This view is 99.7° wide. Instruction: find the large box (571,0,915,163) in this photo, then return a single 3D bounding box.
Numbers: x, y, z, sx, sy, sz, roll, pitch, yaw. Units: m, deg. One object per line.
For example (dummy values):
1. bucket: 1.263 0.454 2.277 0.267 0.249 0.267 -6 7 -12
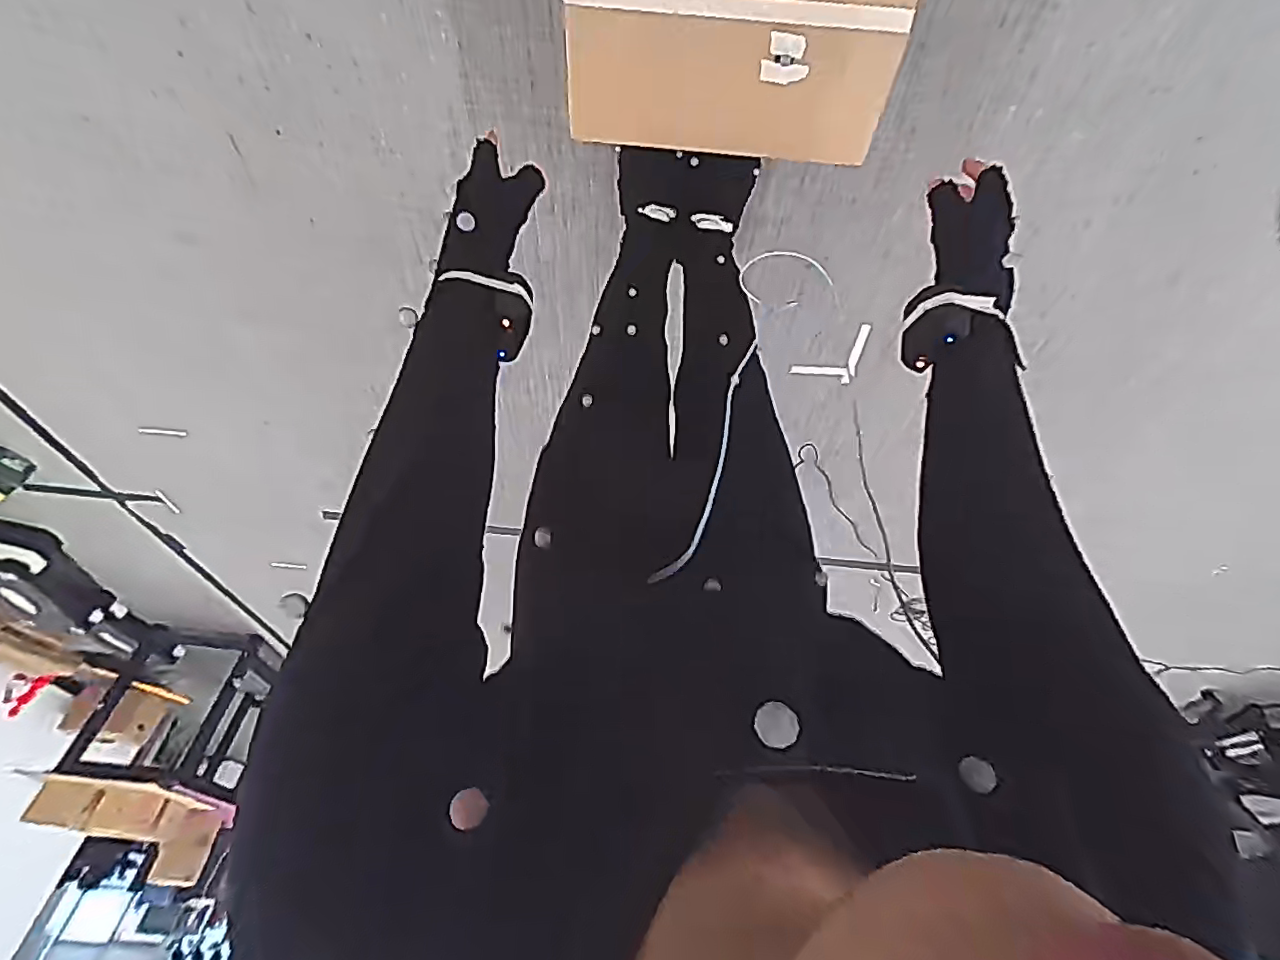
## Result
1. large box: 0.123 -0.663 0.726 0.408 0.320 0.320 5 141 -1
